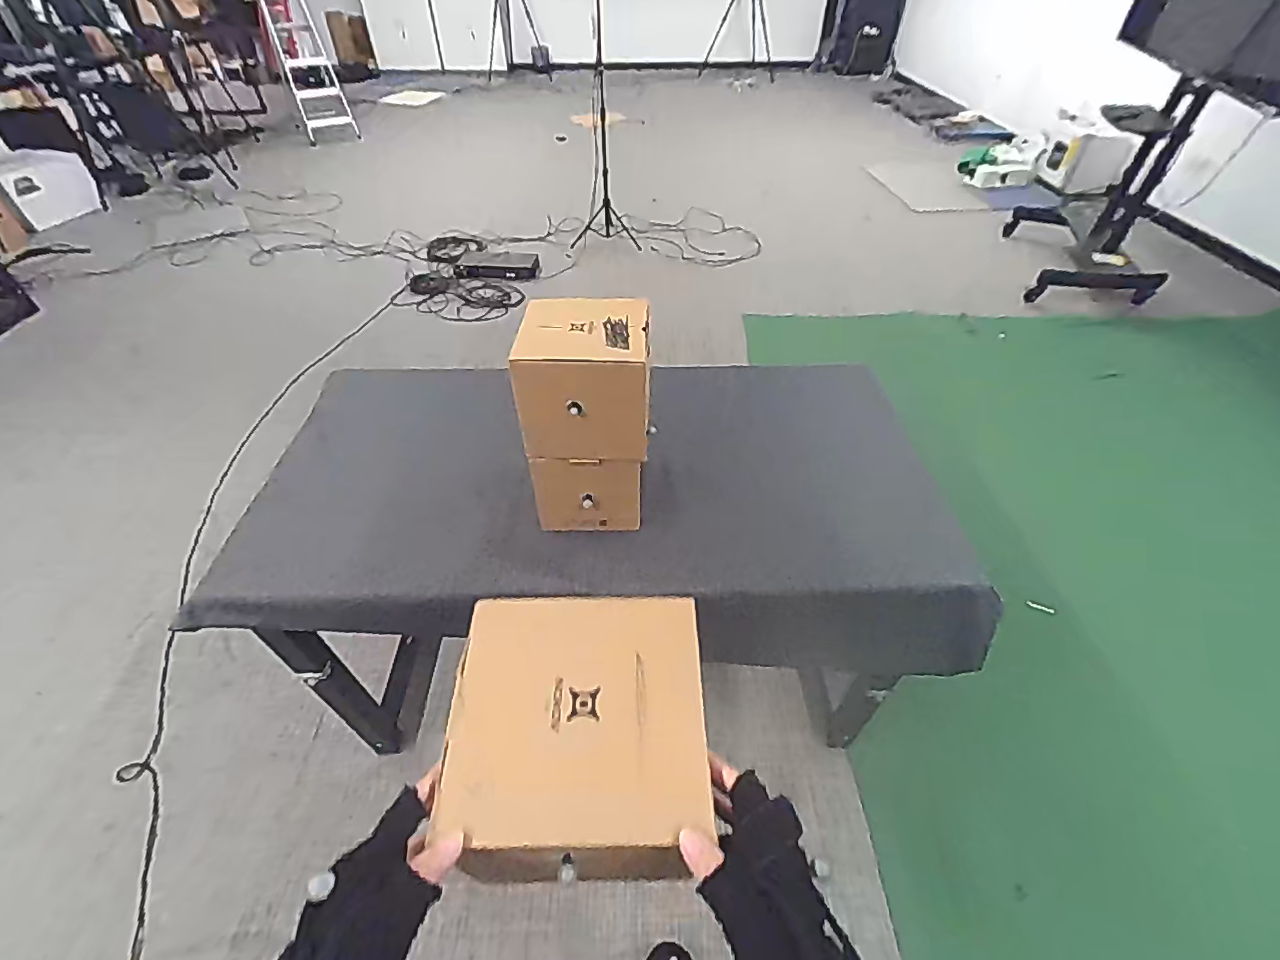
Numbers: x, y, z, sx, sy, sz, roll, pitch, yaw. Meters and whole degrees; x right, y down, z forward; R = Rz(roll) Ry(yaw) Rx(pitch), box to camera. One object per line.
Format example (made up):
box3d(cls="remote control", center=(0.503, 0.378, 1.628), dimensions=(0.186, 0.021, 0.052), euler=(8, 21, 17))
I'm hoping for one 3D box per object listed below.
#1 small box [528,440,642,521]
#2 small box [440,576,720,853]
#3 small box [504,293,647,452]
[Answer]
box3d(cls="small box", center=(-0.082, -0.043, 0.907), dimensions=(0.168, 0.176, 0.179), euler=(-2, 46, 0))
box3d(cls="small box", center=(-0.038, 0.194, 0.441), dimensions=(0.179, 0.176, 0.168), euler=(-2, 50, -2))
box3d(cls="small box", center=(-0.079, -0.152, 0.782), dimensions=(0.179, 0.176, 0.168), euler=(0, 45, 3))
